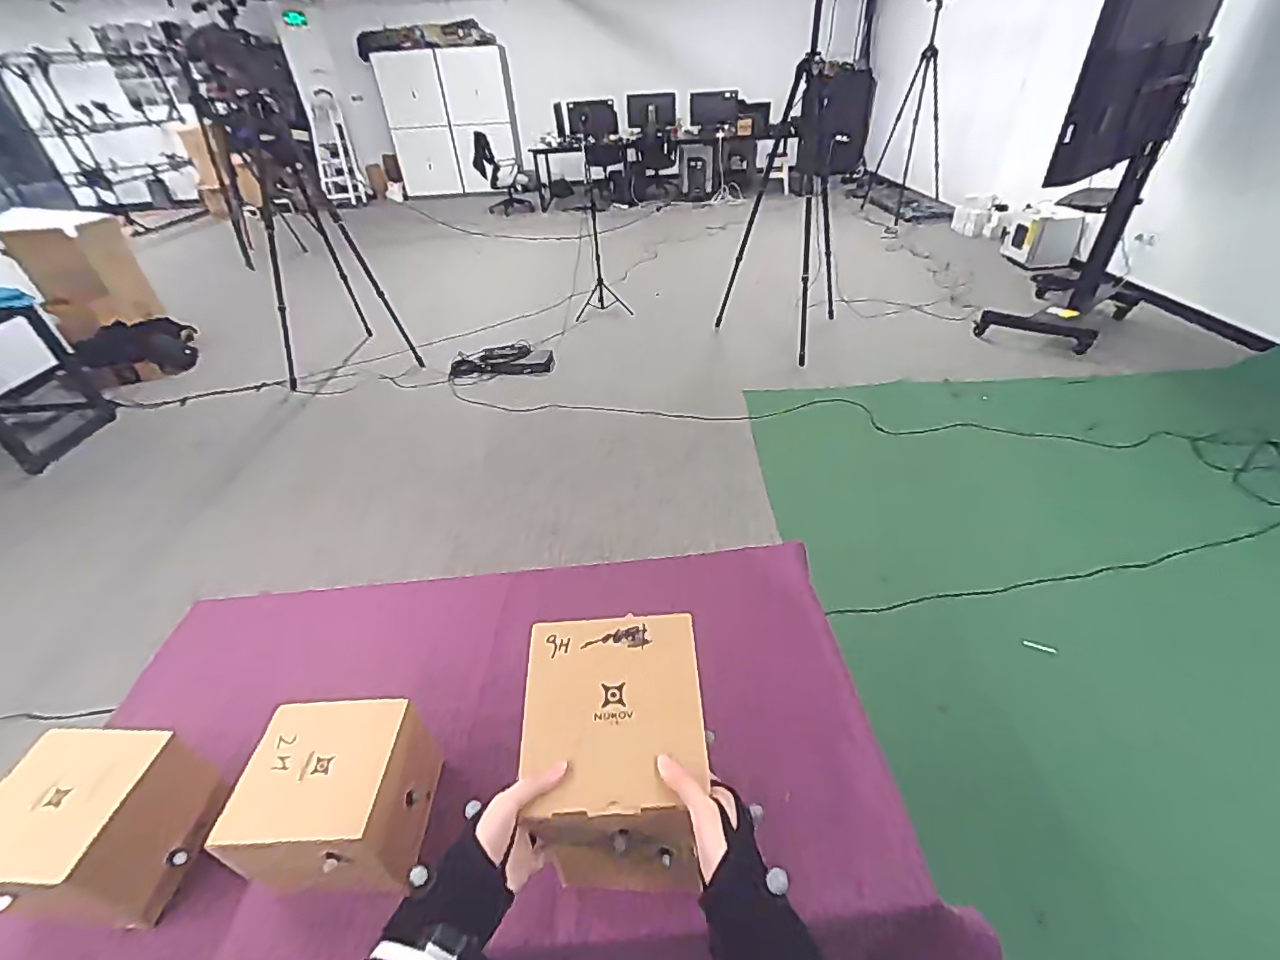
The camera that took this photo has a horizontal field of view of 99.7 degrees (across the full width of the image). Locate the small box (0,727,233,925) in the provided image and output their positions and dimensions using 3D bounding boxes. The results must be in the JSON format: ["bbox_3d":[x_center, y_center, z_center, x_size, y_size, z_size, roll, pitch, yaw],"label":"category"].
[{"bbox_3d":[-0.682,0.436,0.685,0.179,0.176,0.168,0,38,4],"label":"small box"}]

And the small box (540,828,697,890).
[{"bbox_3d":[-0.018,0.392,0.683,0.179,0.176,0.168,0,38,4],"label":"small box"}]

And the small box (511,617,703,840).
[{"bbox_3d":[-0.025,0.262,0.559,0.168,0.176,0.179,-4,50,1],"label":"small box"}]

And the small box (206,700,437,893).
[{"bbox_3d":[-0.383,0.406,0.696,0.179,0.176,0.168,-3,37,1],"label":"small box"}]
